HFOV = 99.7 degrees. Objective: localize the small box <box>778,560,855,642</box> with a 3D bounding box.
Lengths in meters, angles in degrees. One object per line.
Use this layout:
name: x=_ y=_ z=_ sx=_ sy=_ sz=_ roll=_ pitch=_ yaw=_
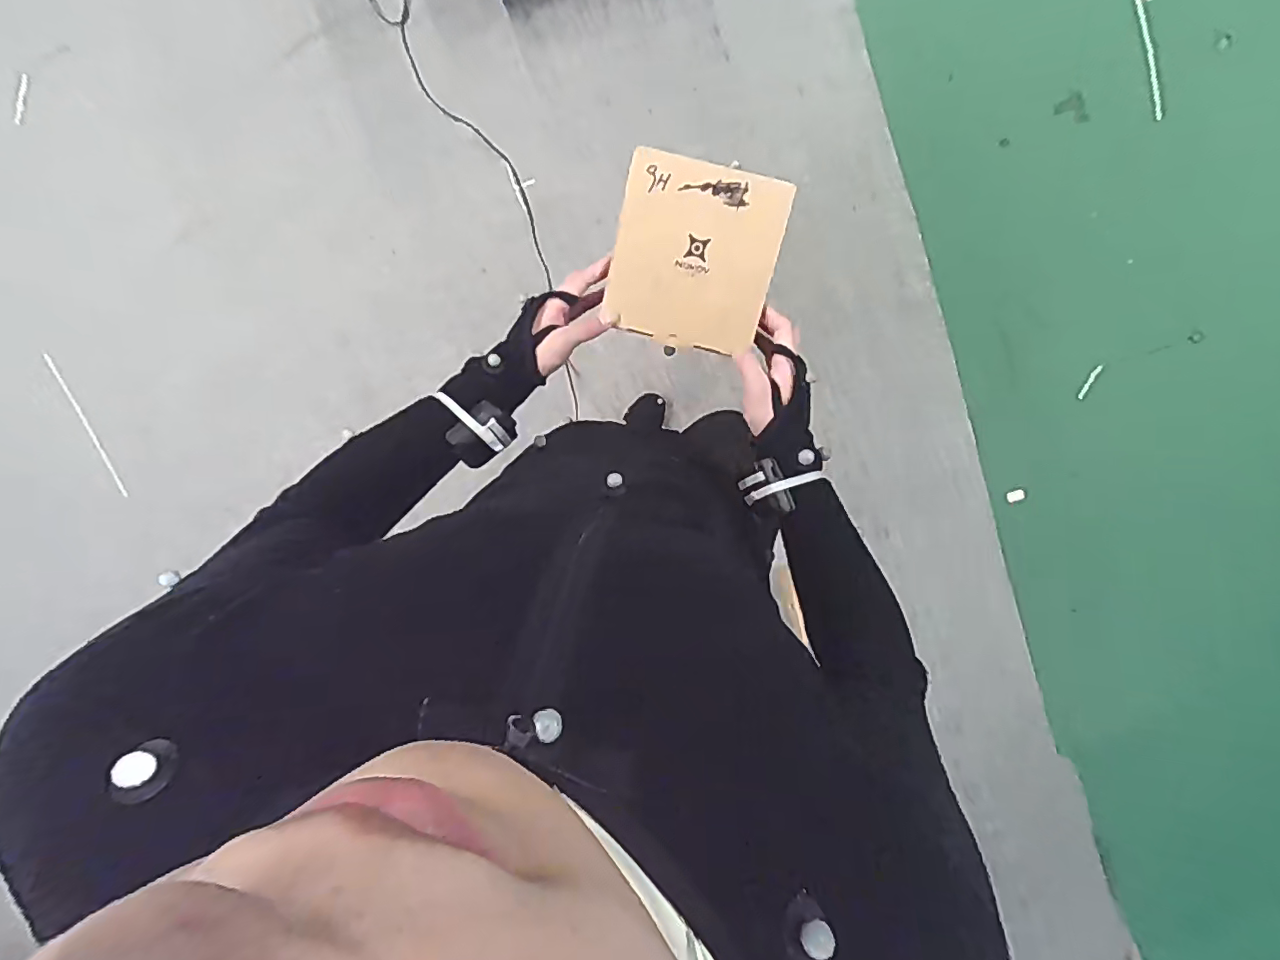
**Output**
small box: x=0.523 y=0.354 z=1.621 sx=0.168 sy=0.176 sz=0.179 roll=-14 pitch=101 yaw=6
